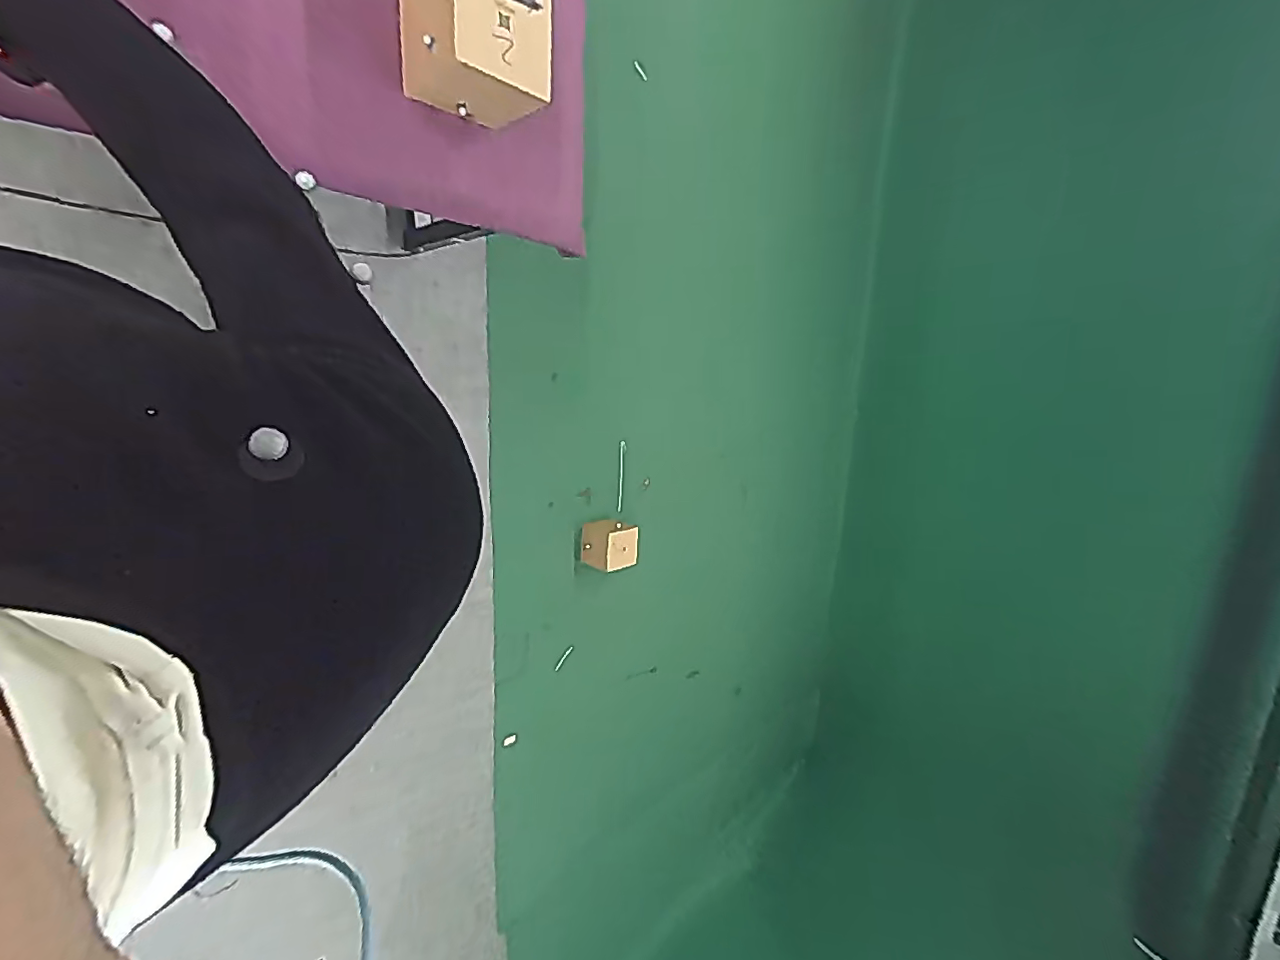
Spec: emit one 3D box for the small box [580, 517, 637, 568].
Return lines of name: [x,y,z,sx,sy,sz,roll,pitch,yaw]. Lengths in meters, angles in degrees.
small box: [-0.134,0.259,2.296,0.179,0.176,0.168,-8,105,-47]
